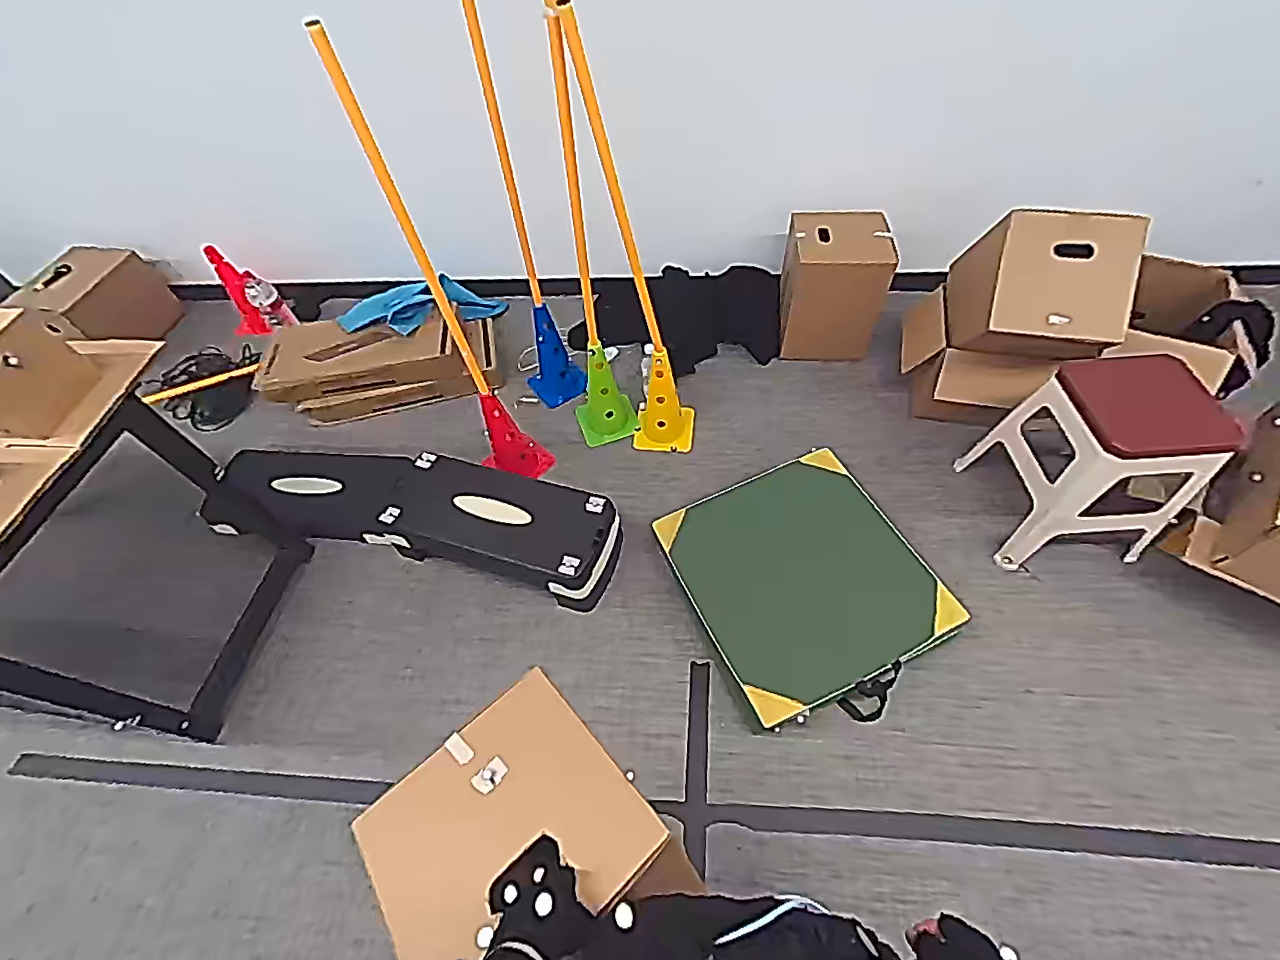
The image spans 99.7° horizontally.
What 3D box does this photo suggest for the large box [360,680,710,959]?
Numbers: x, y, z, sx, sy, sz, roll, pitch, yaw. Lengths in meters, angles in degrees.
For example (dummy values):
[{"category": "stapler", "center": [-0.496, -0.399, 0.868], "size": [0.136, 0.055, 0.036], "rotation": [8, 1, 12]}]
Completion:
[{"category": "large box", "center": [-0.134, 0.586, 0.819], "size": [0.320, 0.408, 0.320], "rotation": [-37, 46, -20]}]
